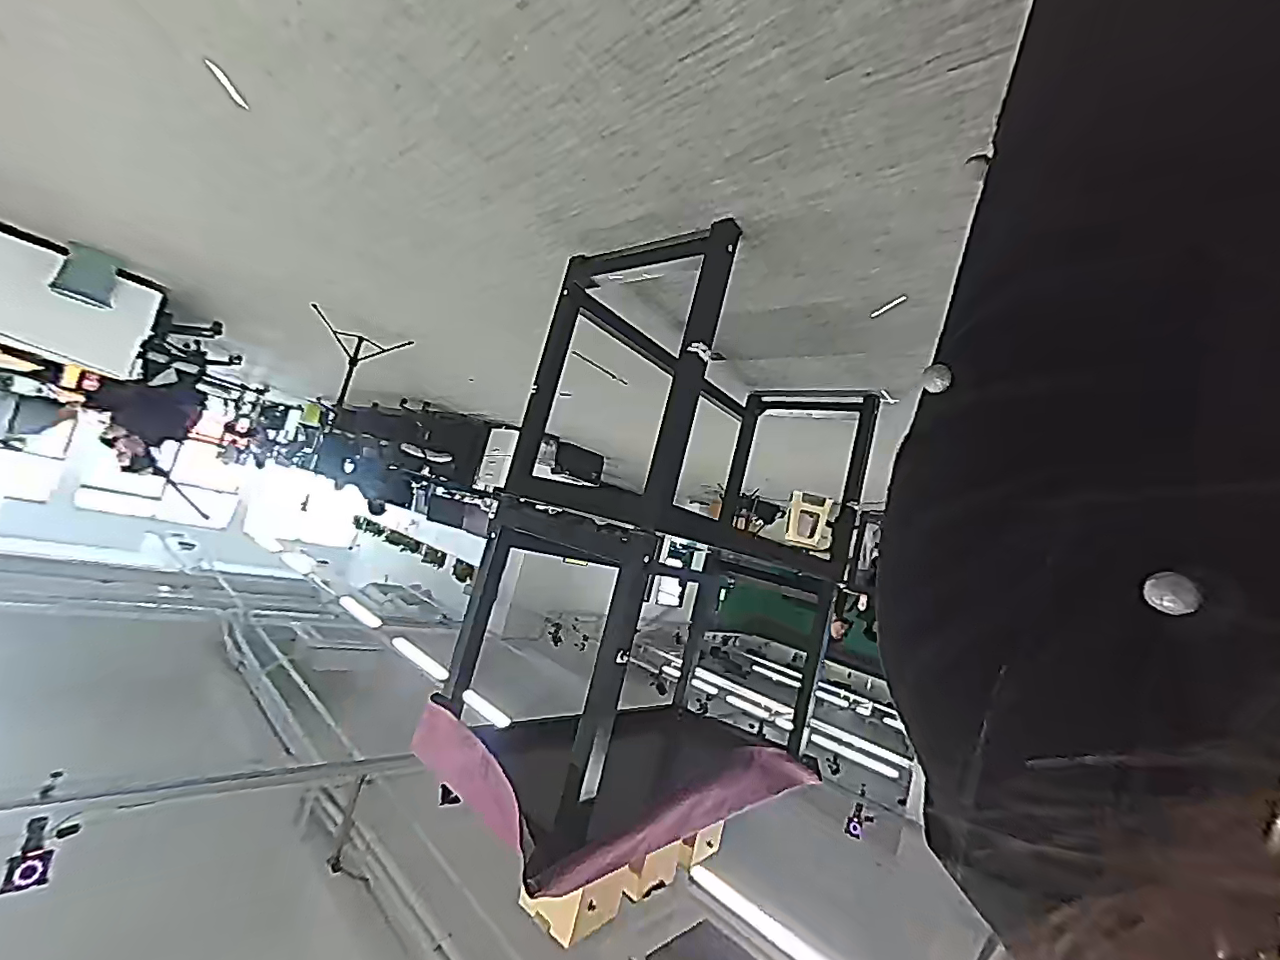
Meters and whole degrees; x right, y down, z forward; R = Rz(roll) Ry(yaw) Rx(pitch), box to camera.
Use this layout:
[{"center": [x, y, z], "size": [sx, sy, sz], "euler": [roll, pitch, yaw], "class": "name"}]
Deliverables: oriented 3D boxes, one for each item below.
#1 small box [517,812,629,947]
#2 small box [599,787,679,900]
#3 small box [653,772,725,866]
[{"center": [-0.151, 0.911, 1.256], "size": [0.168, 0.176, 0.179], "euler": [12, 175, 37], "class": "small box"}, {"center": [-0.010, 0.966, 1.457], "size": [0.179, 0.176, 0.168], "euler": [11, 173, 41], "class": "small box"}, {"center": [0.141, 1.026, 1.657], "size": [0.168, 0.176, 0.179], "euler": [10, 173, 38], "class": "small box"}]
